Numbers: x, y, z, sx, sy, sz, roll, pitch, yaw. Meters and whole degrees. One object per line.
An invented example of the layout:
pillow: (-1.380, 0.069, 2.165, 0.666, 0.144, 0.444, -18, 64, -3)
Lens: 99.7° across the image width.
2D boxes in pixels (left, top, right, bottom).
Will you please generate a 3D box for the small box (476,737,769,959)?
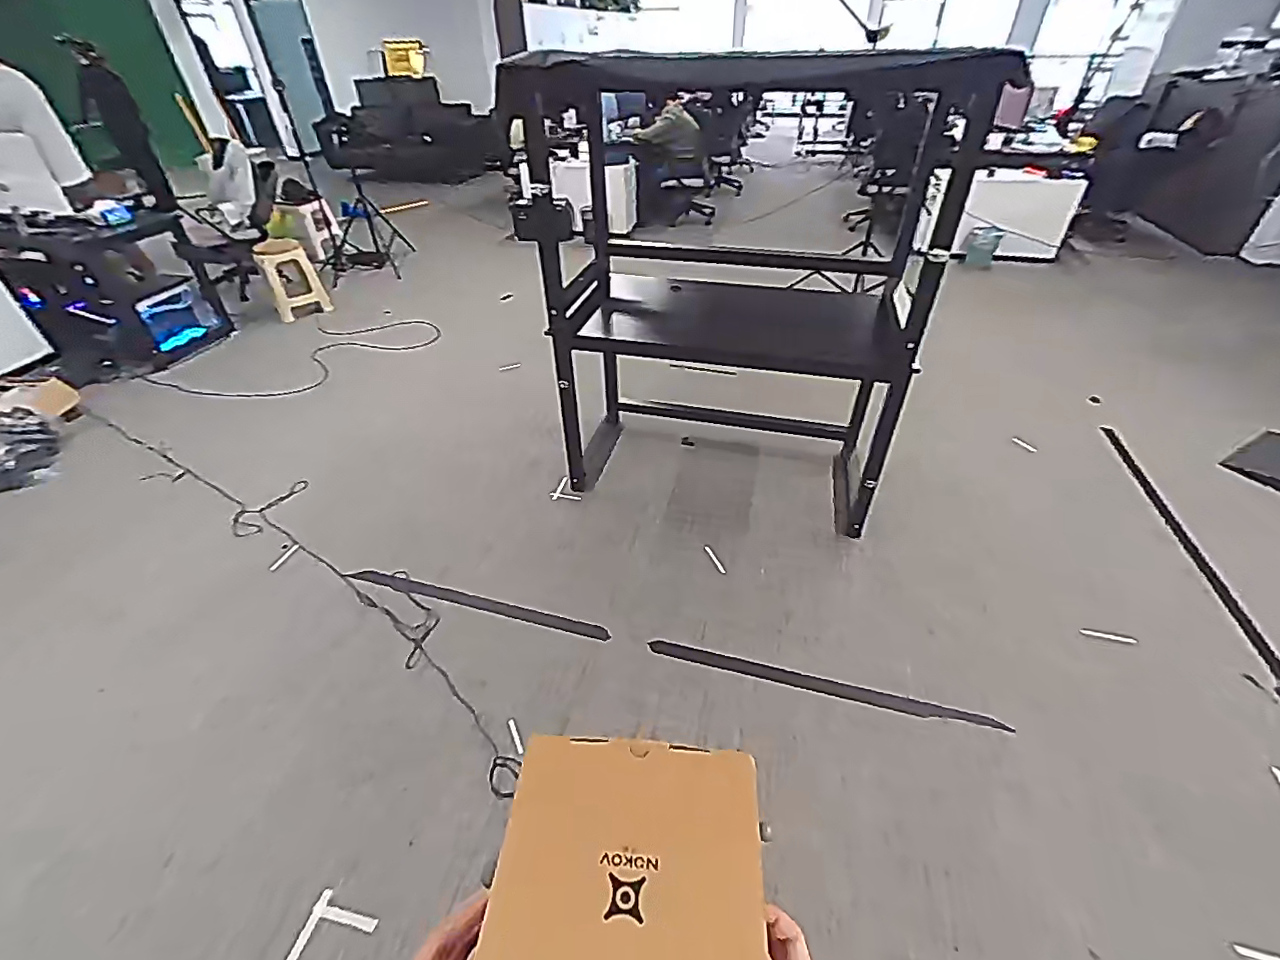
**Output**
small box: (-0.005, 0.308, 0.374, 0.168, 0.176, 0.179, 3, 38, 4)
